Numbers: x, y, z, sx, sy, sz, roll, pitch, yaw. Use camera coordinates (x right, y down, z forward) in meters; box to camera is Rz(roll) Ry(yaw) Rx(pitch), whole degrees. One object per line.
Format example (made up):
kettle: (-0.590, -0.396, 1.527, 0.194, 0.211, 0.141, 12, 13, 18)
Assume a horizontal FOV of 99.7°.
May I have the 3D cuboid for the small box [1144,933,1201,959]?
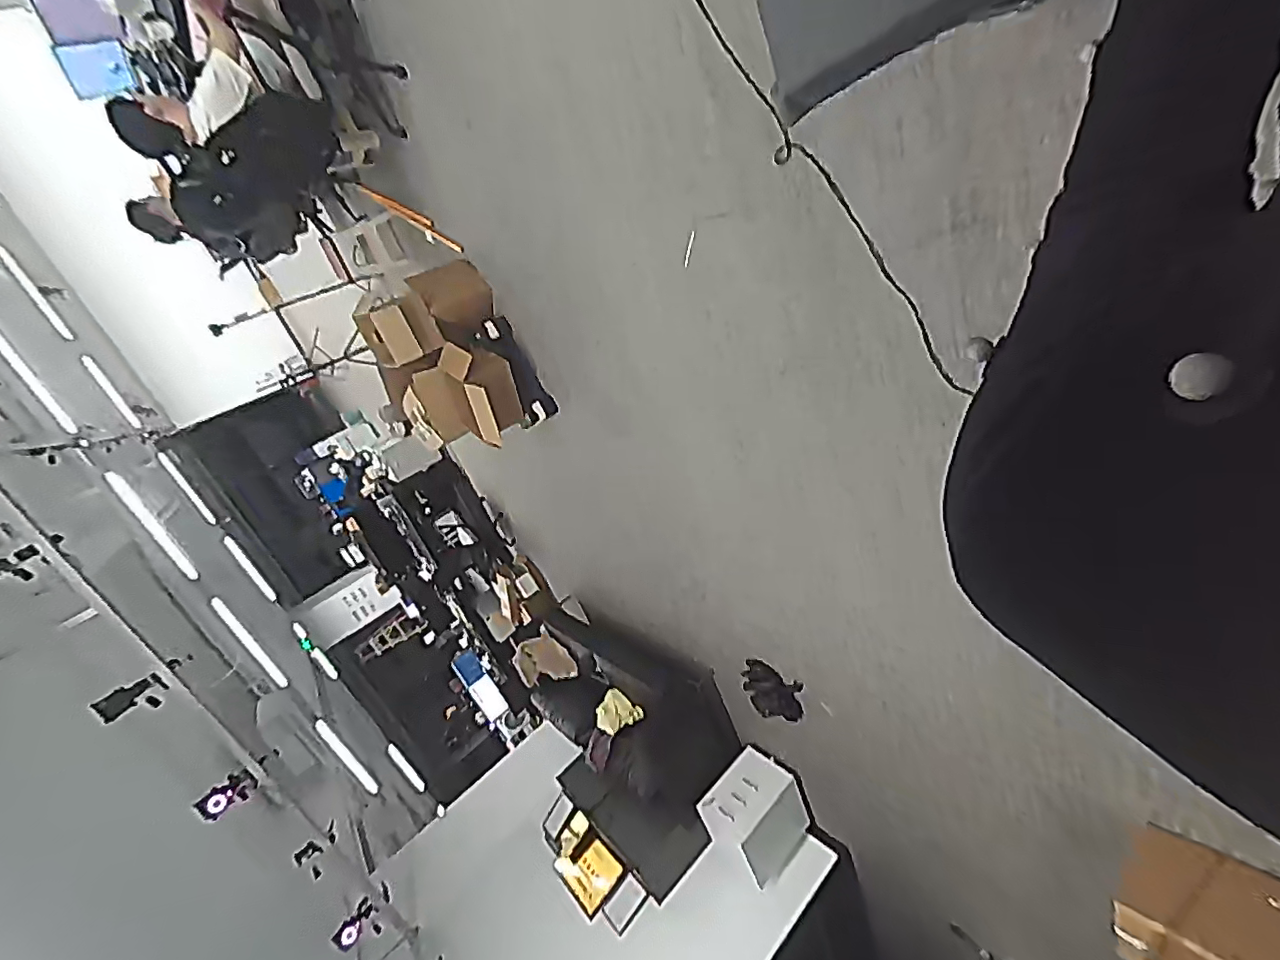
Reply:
small box: (1.502, 1.416, 1.484, 0.179, 0.176, 0.168, 11, 127, 55)
